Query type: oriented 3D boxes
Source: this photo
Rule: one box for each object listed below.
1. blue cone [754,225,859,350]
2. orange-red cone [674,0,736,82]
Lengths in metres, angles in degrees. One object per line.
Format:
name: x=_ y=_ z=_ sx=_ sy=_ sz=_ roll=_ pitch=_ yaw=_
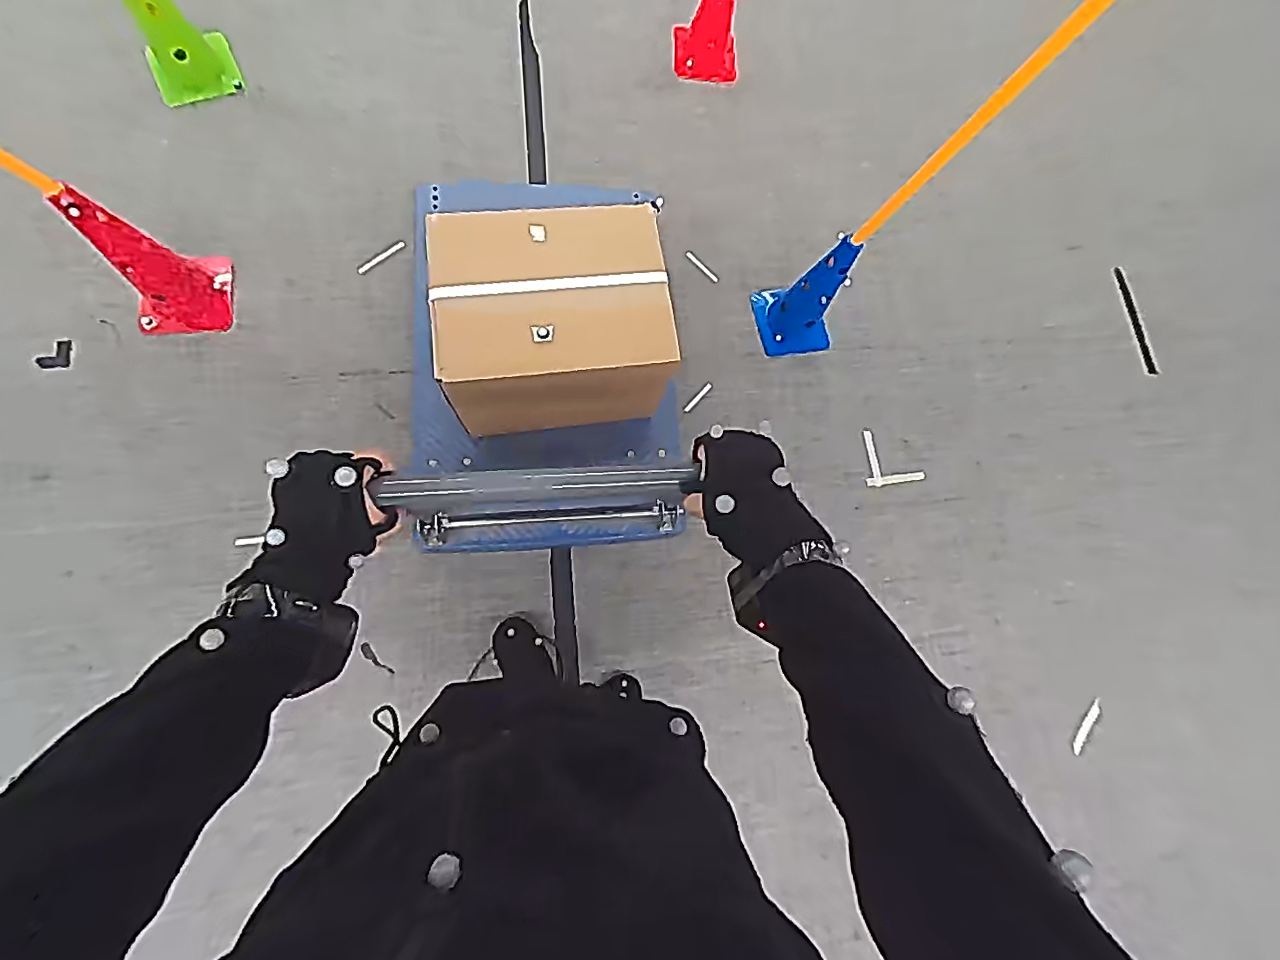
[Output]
blue cone: x=0.451 y=-0.499 z=1.378 sx=0.193 sy=0.380 sz=0.192 roll=-8 pitch=78 yaw=-10
orange-red cone: x=0.230 y=-1.371 z=1.523 sx=0.199 sy=0.360 sz=0.198 roll=2 pitch=78 yaw=-8
